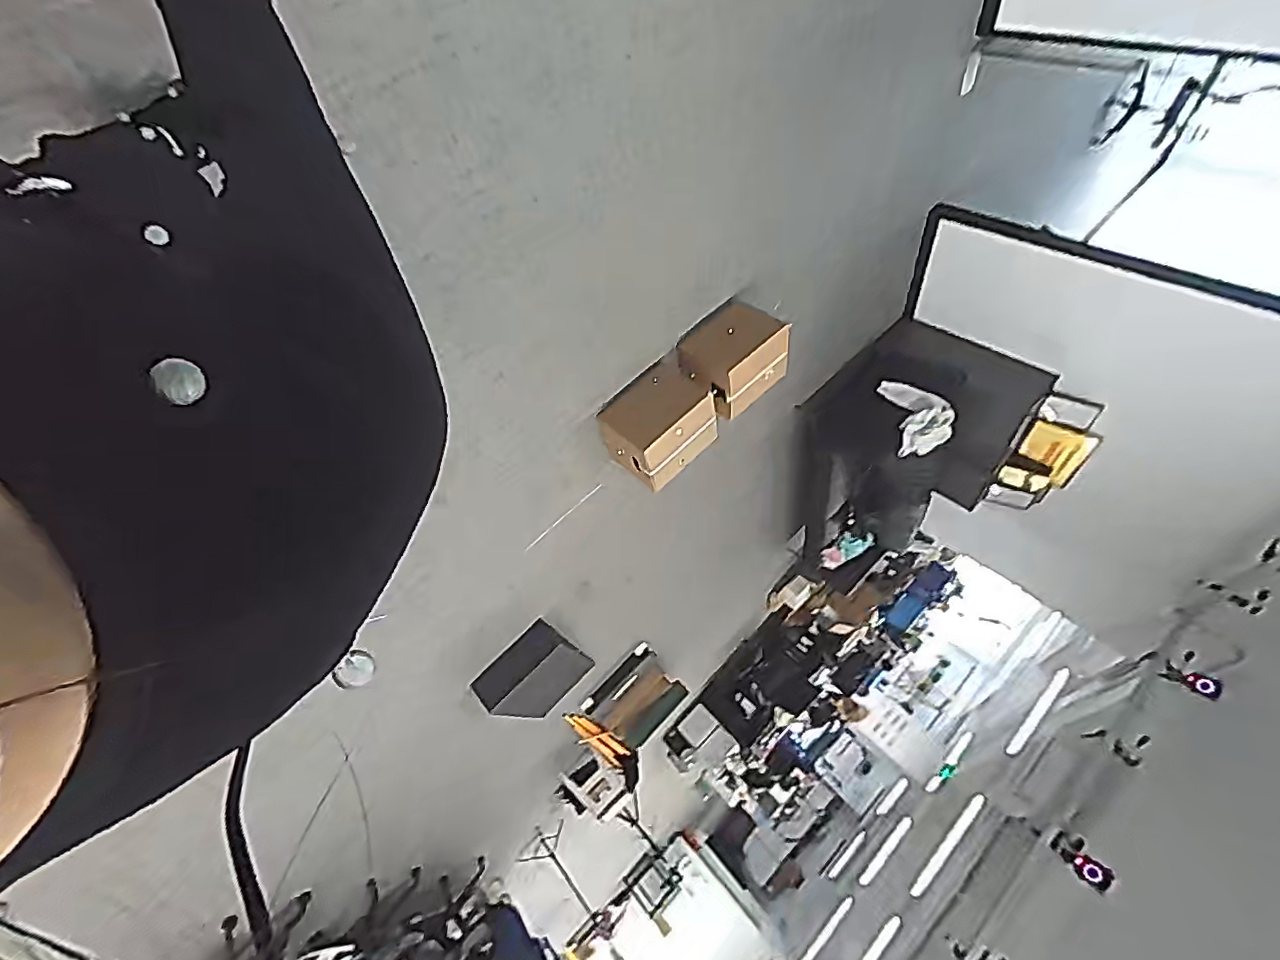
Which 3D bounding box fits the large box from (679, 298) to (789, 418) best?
[{"bbox_3d":[0.435,-0.573,2.515,0.408,0.320,0.320,-41,148,-18],"label":"large box"}]
